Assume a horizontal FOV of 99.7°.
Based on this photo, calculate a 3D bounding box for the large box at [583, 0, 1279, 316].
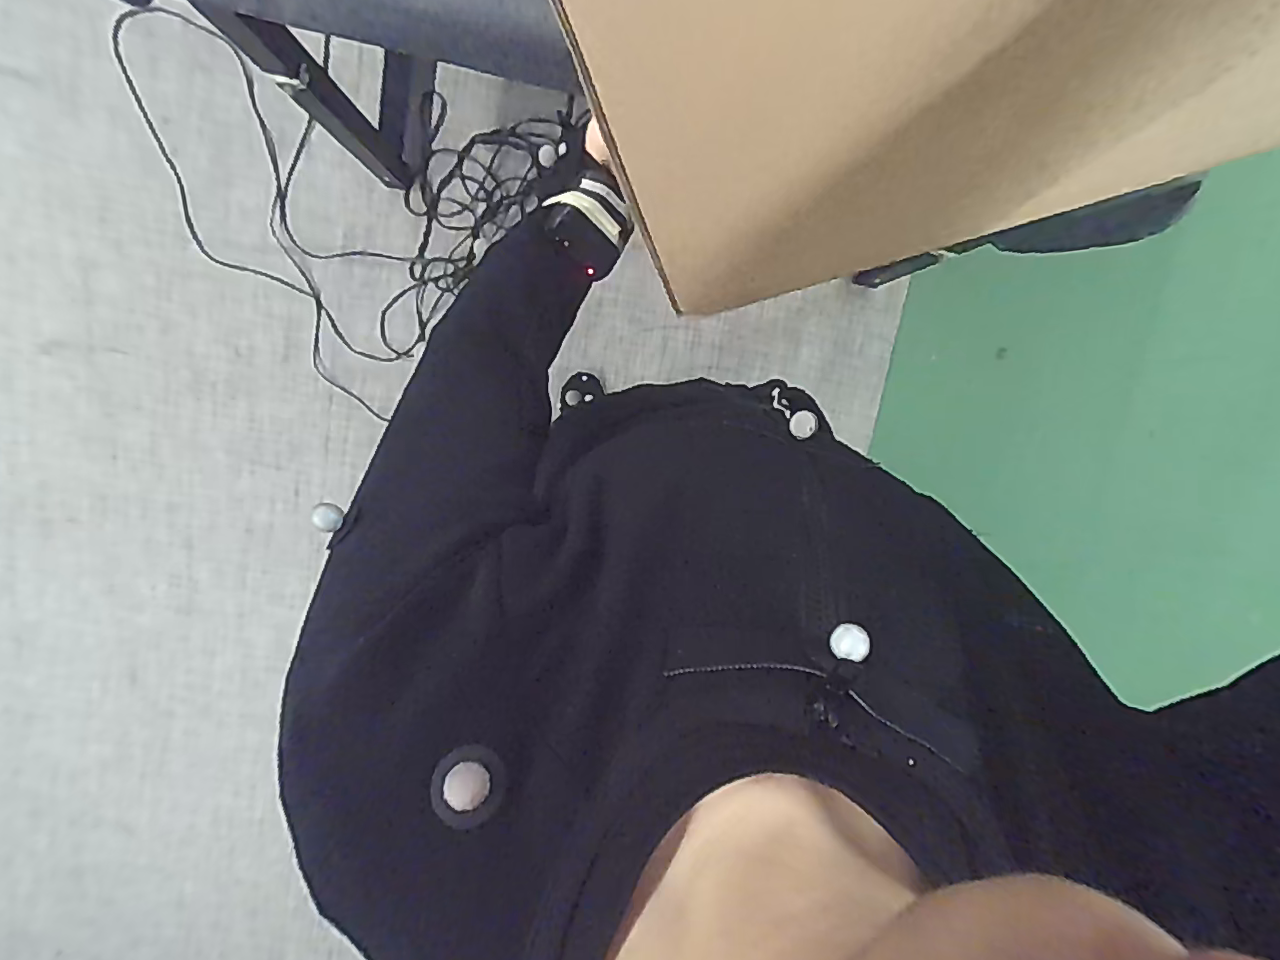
[{"bbox_3d":[0.161,-0.345,0.248,0.408,0.320,0.320,-15,59,15],"label":"large box"}]
